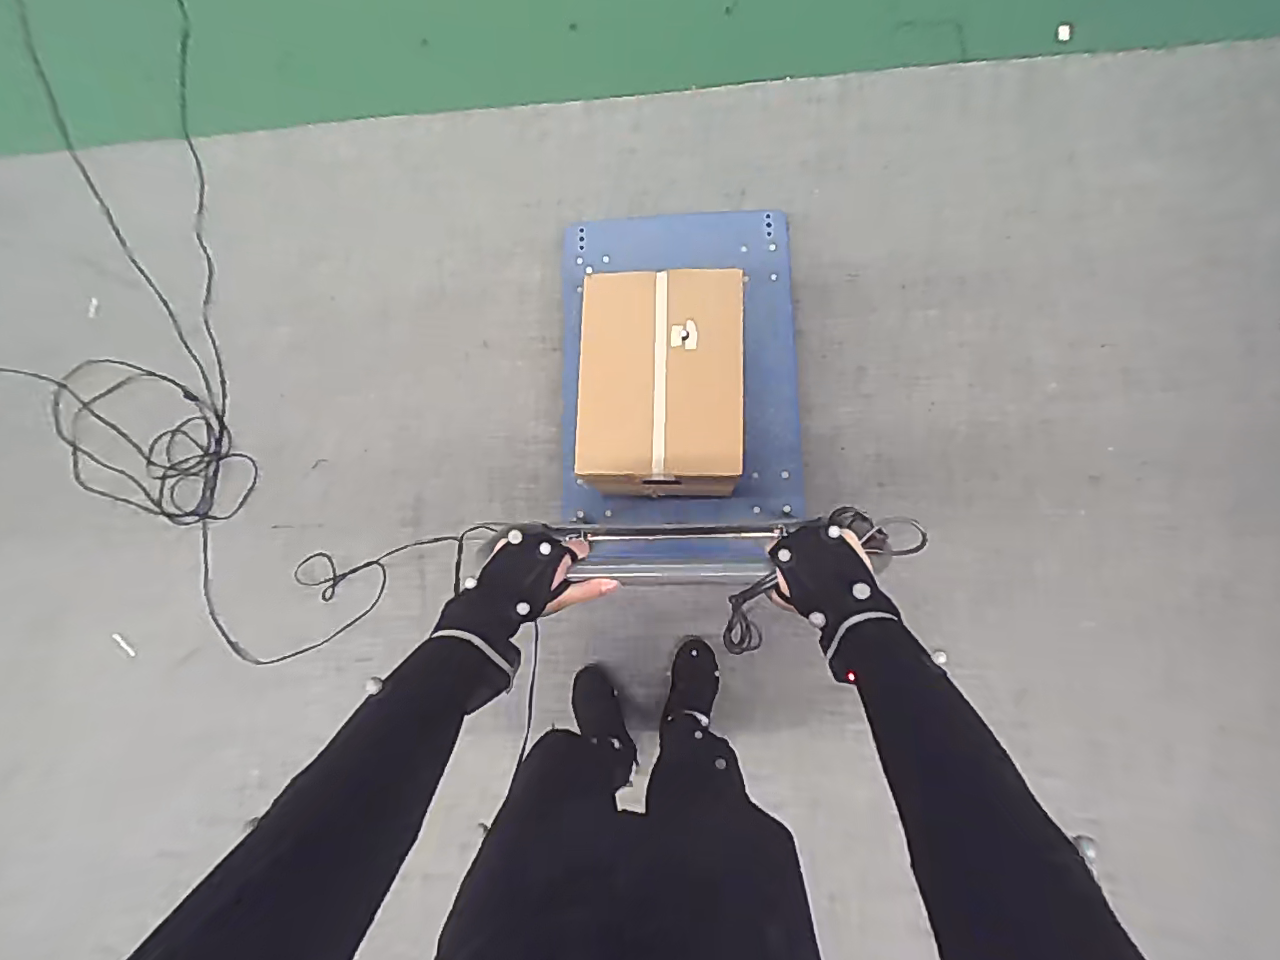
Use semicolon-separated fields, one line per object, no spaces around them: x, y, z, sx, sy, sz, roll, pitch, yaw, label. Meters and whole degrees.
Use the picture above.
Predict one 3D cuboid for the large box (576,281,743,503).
0.053;-0.165;1.177;0.320;0.320;0.408;1;81;6;large box
